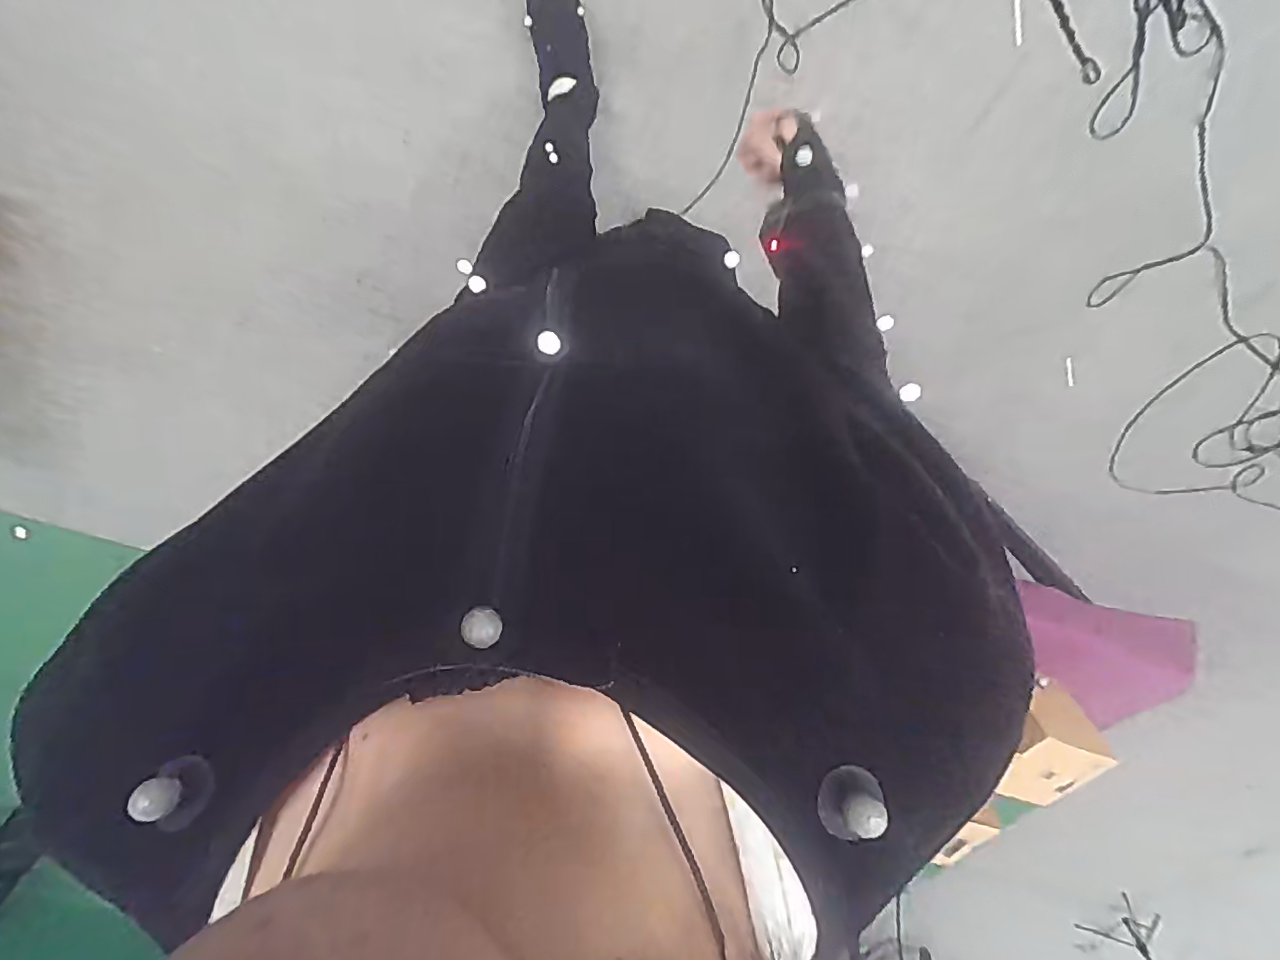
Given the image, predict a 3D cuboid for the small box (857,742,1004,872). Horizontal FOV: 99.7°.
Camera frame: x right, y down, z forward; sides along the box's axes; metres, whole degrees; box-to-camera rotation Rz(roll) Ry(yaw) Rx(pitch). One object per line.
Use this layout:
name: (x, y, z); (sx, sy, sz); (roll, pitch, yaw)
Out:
small box: (0.592, 0.676, 1.127); (0.179, 0.176, 0.168); (18, 120, -10)

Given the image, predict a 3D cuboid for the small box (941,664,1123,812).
small box: (0.705, 0.469, 0.998); (0.179, 0.176, 0.168); (23, 120, -13)
